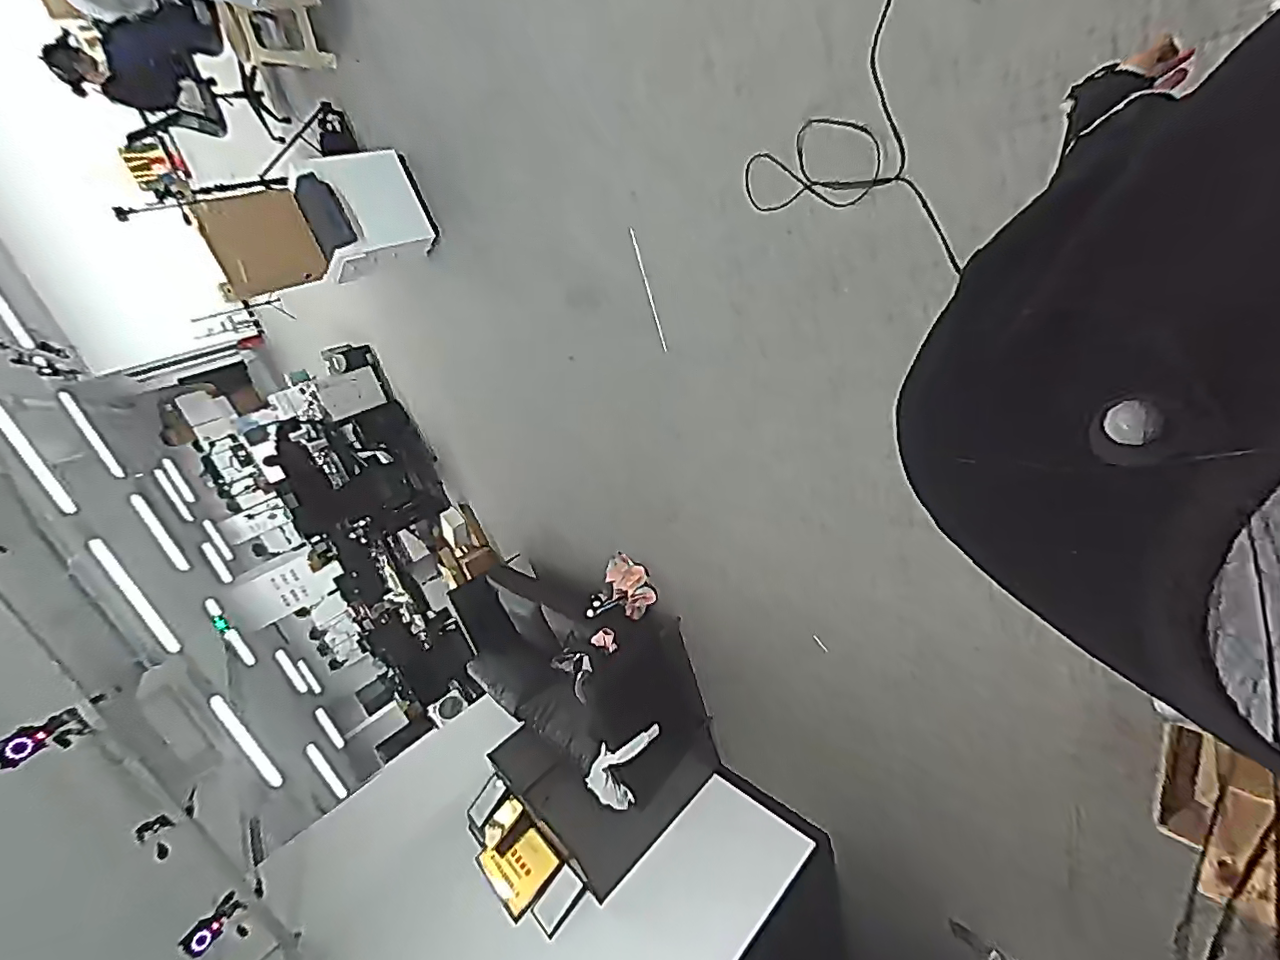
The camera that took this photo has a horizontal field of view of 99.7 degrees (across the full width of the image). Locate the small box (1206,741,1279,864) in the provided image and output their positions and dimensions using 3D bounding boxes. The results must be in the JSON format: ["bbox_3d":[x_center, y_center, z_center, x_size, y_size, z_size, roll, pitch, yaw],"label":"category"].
[{"bbox_3d":[1.424,0.734,1.224,0.179,0.176,0.168,8,120,49],"label":"small box"}]
